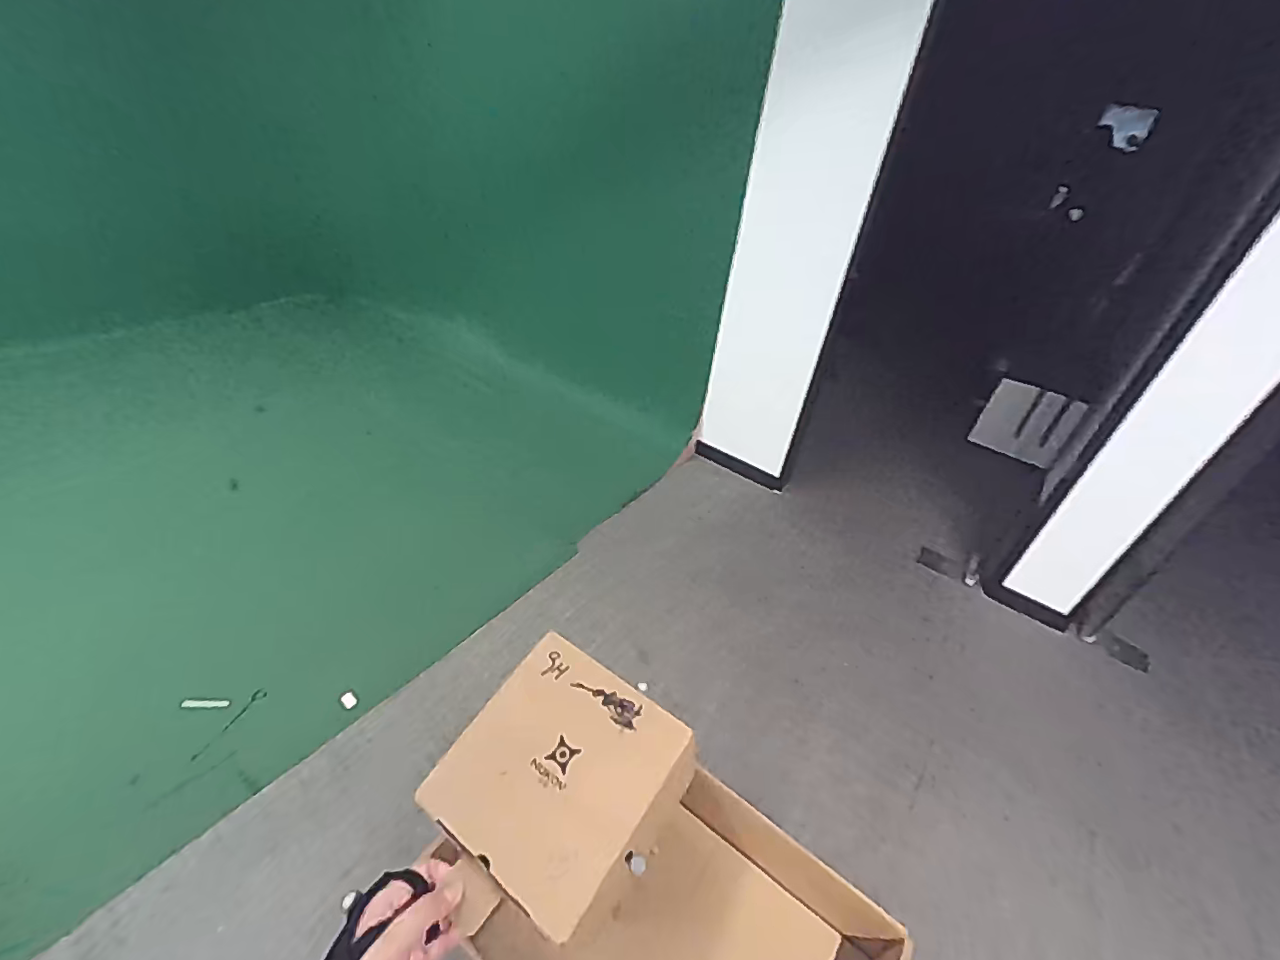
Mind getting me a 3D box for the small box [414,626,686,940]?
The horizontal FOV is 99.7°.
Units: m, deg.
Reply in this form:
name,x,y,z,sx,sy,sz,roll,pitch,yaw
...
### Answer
name,x,y,z,sx,sy,sz,roll,pitch,yaw
small box,-0.065,0.279,0.508,0.168,0.176,0.179,27,59,25
